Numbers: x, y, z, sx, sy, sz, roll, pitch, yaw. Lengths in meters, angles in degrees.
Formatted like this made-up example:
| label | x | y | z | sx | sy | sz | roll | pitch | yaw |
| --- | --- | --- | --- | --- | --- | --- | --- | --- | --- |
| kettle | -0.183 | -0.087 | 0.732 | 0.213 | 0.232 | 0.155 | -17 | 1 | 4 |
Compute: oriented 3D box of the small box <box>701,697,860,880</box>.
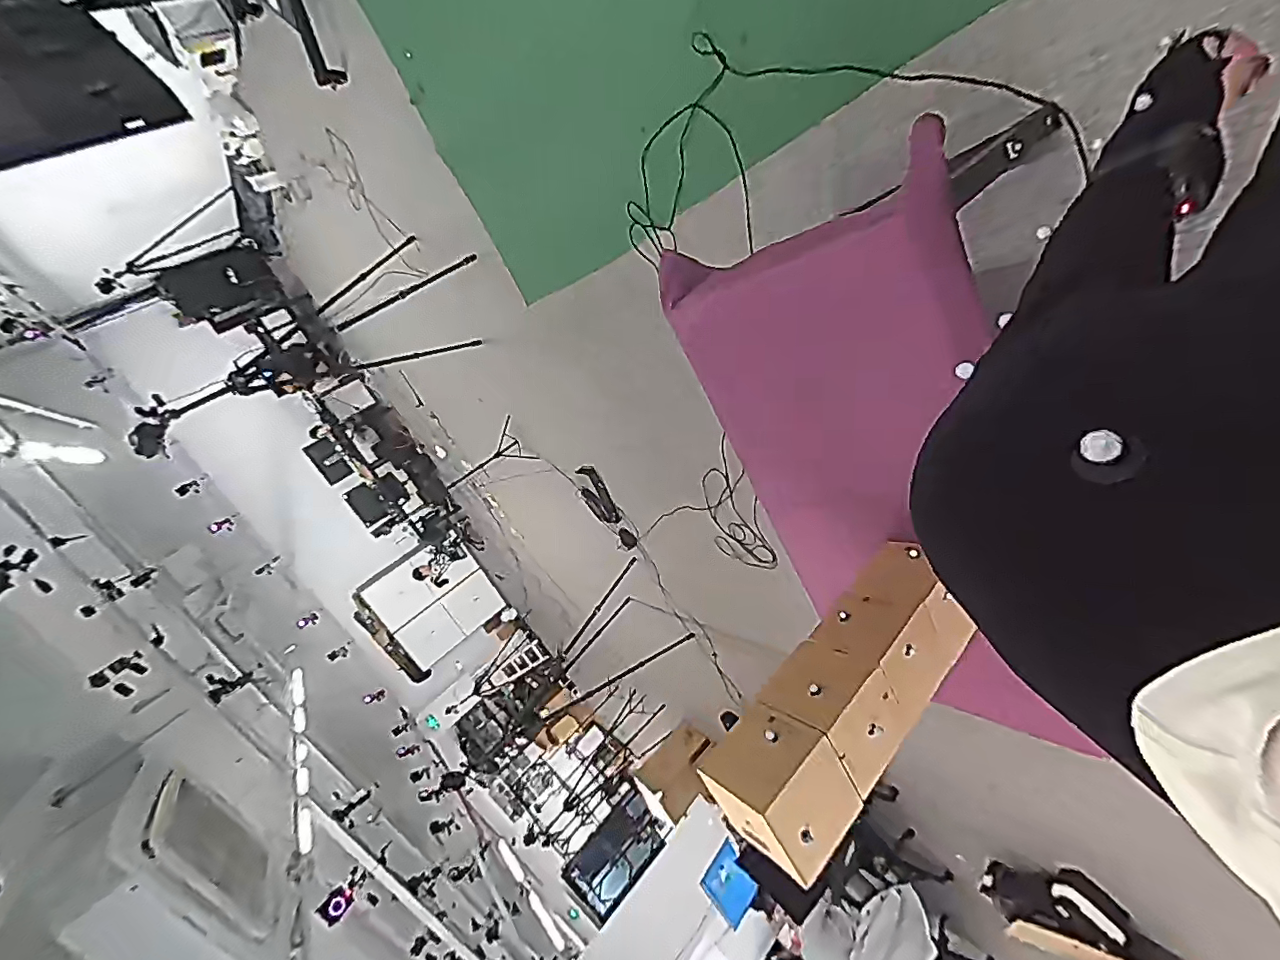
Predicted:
| label | x | y | z | sx | sy | sz | roll | pitch | yaw |
| --- | --- | --- | --- | --- | --- | --- | --- | --- | --- |
| small box | 0.245 | 0.515 | 0.928 | 0.168 | 0.176 | 0.179 | -2 | 122 | 59 |

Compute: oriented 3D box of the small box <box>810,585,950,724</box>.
| label | x | y | z | sx | sy | sz | roll | pitch | yaw |
| --- | --- | --- | --- | --- | --- | --- | --- | --- | --- |
| small box | 0.478 | 0.333 | 1.071 | 0.168 | 0.176 | 0.179 | 0 | 124 | 58 |

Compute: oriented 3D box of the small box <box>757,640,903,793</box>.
| label | x | y | z | sx | sy | sz | roll | pitch | yaw |
| --- | --- | --- | --- | --- | --- | --- | --- | --- | --- |
| small box | 0.360 | 0.424 | 1.004 | 0.179 | 0.176 | 0.168 | -2 | 121 | 58 |
